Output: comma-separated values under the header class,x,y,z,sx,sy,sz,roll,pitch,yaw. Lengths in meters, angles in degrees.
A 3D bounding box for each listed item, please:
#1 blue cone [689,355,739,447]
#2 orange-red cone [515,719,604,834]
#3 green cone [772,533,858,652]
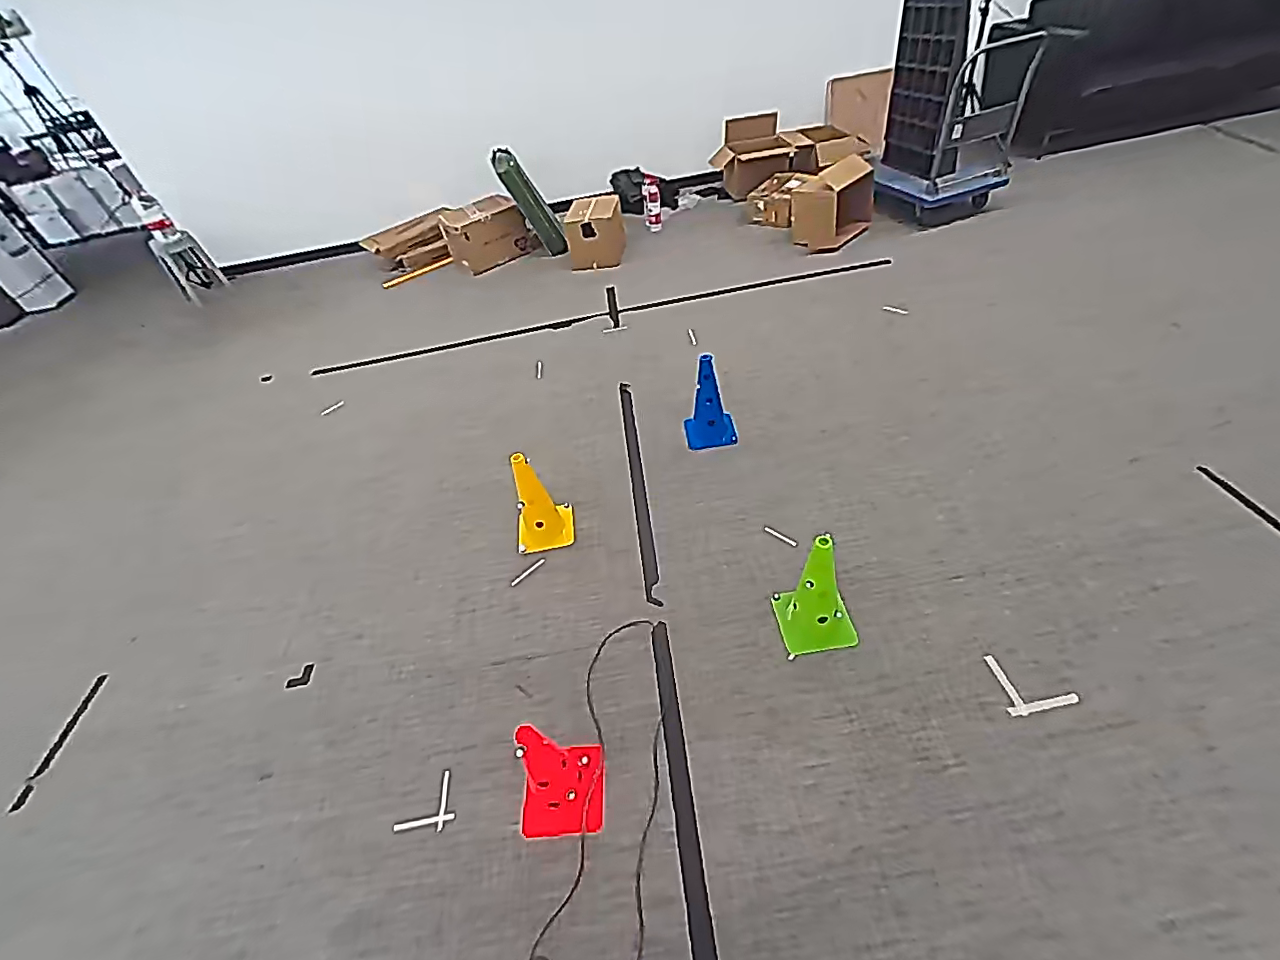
class,x,y,z,sx,sy,sz,roll,pitch,yaw
blue cone,0.282,-0.318,2.119,0.192,0.380,0.193,-7,44,4
orange-red cone,-0.215,0.635,1.223,0.199,0.360,0.198,-8,42,5
green cone,0.480,0.276,1.446,0.202,0.368,0.200,-9,44,1
